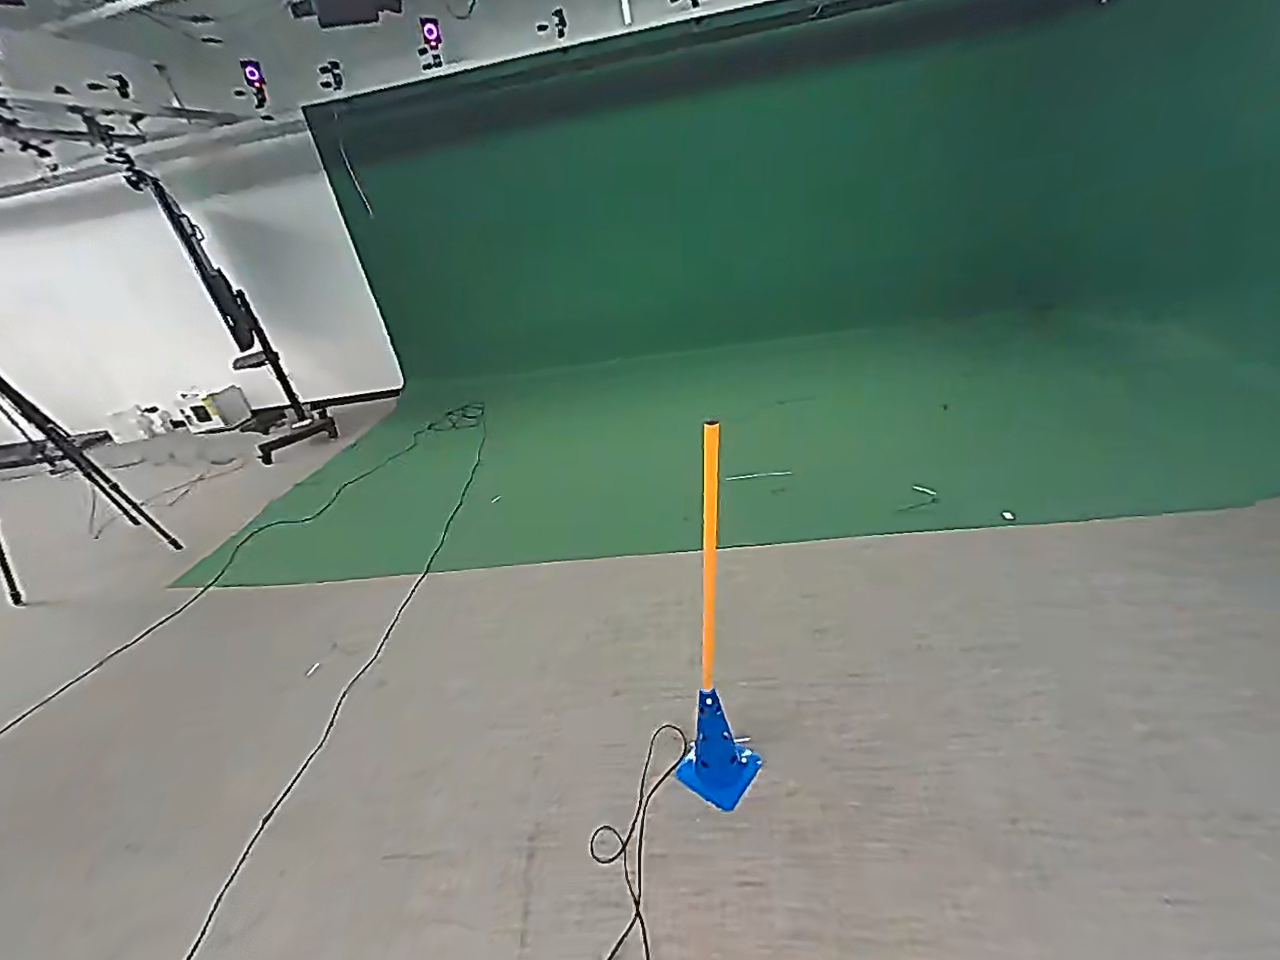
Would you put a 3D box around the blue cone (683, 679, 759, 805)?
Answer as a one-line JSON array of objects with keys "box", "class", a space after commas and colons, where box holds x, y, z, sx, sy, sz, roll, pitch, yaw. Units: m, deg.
[{"box": [0.216, 0.706, 1.534, 0.192, 0.380, 0.193, 14, 36, 36], "class": "blue cone"}]
